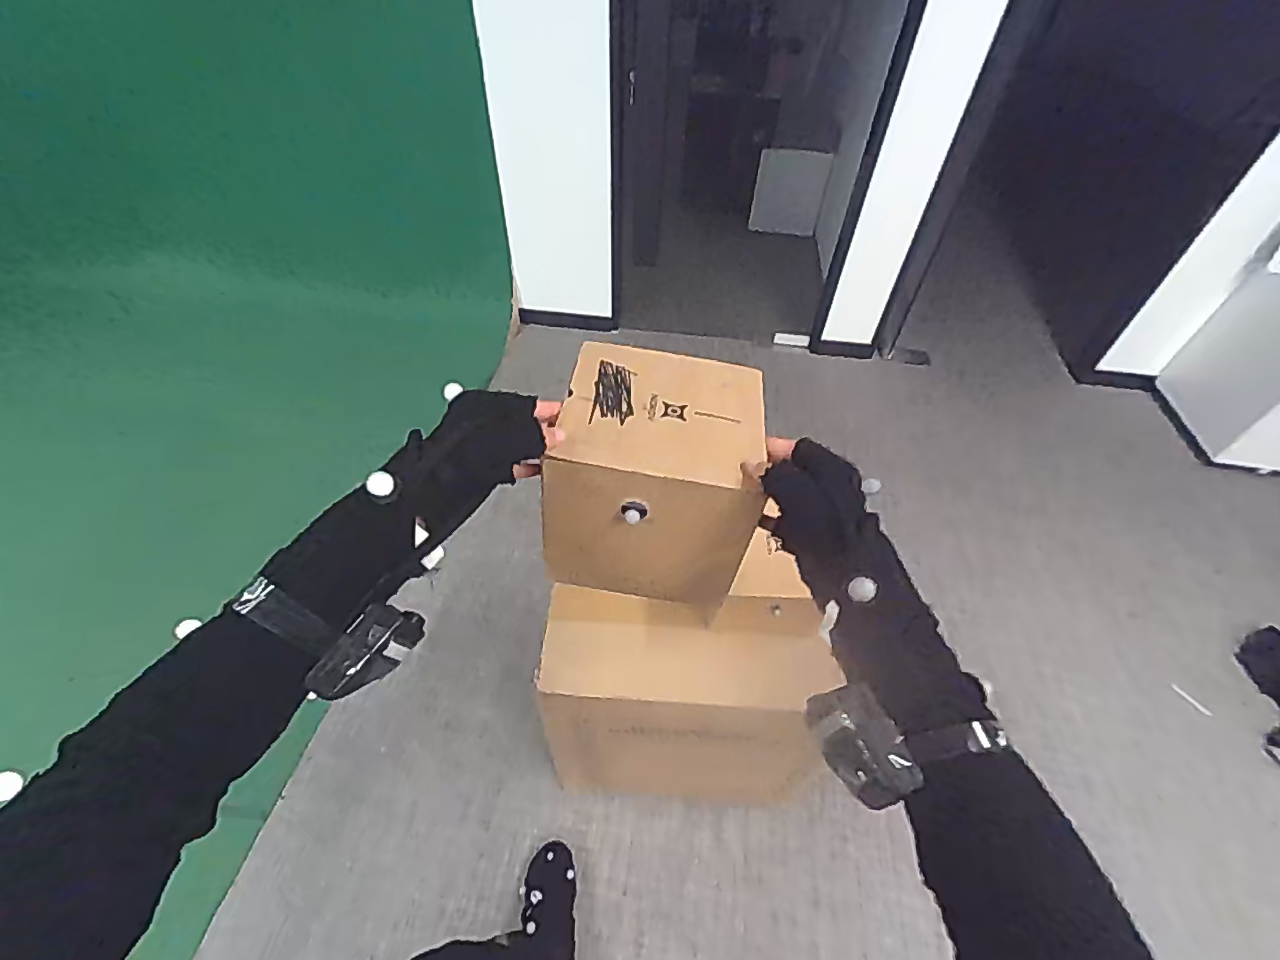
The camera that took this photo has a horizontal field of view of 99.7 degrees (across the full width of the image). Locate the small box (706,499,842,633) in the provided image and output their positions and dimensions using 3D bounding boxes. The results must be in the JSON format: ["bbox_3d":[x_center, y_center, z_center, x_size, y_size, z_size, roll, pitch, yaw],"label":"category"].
[{"bbox_3d":[0.201,0.144,0.880,0.179,0.176,0.168,2,57,-2],"label":"small box"}]

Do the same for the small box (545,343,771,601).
[{"bbox_3d":[0.014,-0.004,0.516,0.179,0.176,0.168,10,46,0],"label":"small box"}]
